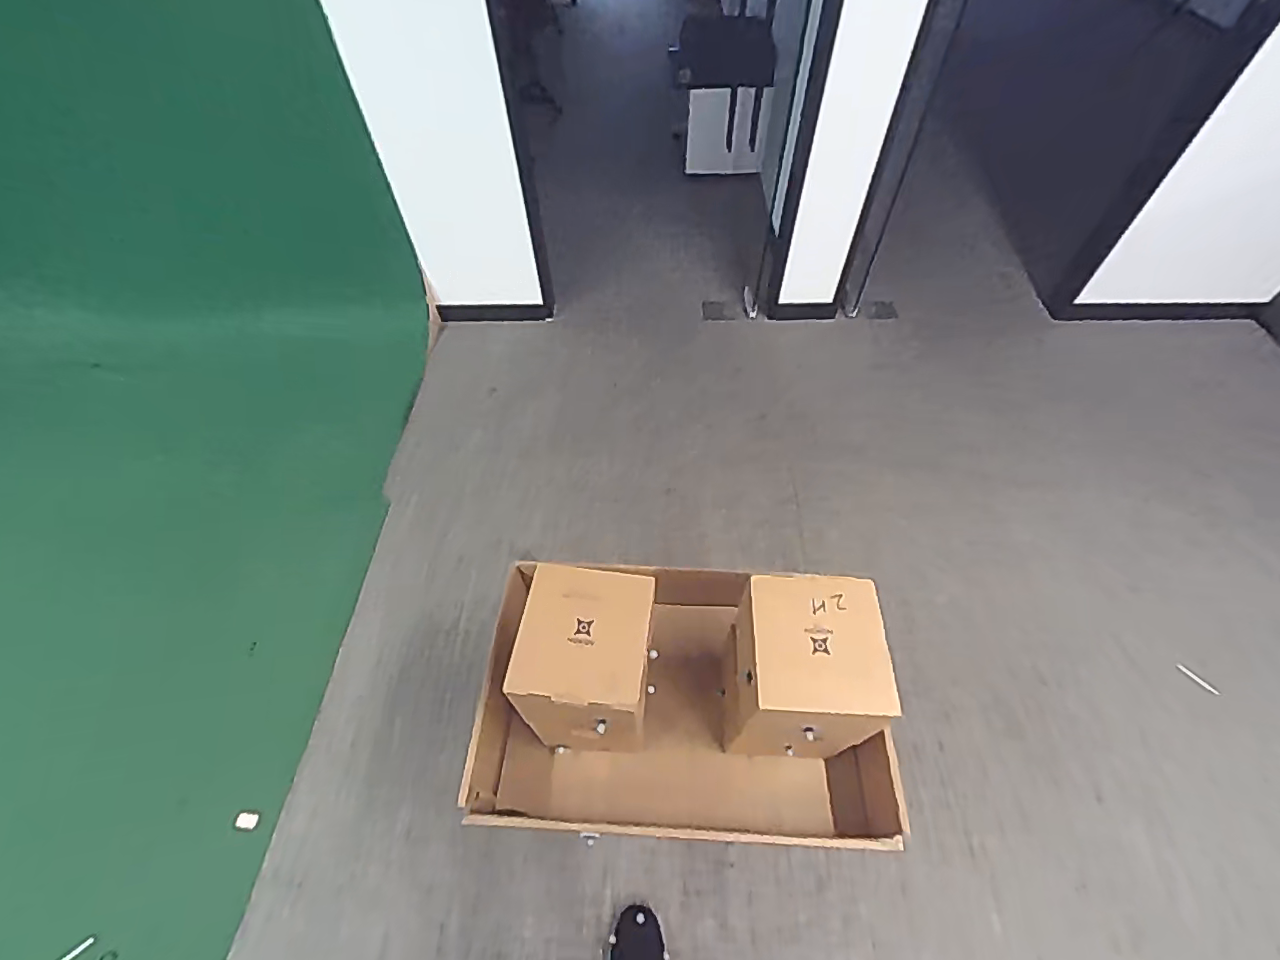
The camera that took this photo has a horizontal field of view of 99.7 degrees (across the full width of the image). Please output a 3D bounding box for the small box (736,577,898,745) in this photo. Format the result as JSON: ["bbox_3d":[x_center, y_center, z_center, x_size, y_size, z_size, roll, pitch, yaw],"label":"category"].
[{"bbox_3d":[0.224,0.251,0.735,0.168,0.176,0.179,3,54,3],"label":"small box"}]

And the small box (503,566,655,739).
[{"bbox_3d":[-0.071,0.244,0.752,0.168,0.176,0.179,7,53,5],"label":"small box"}]
